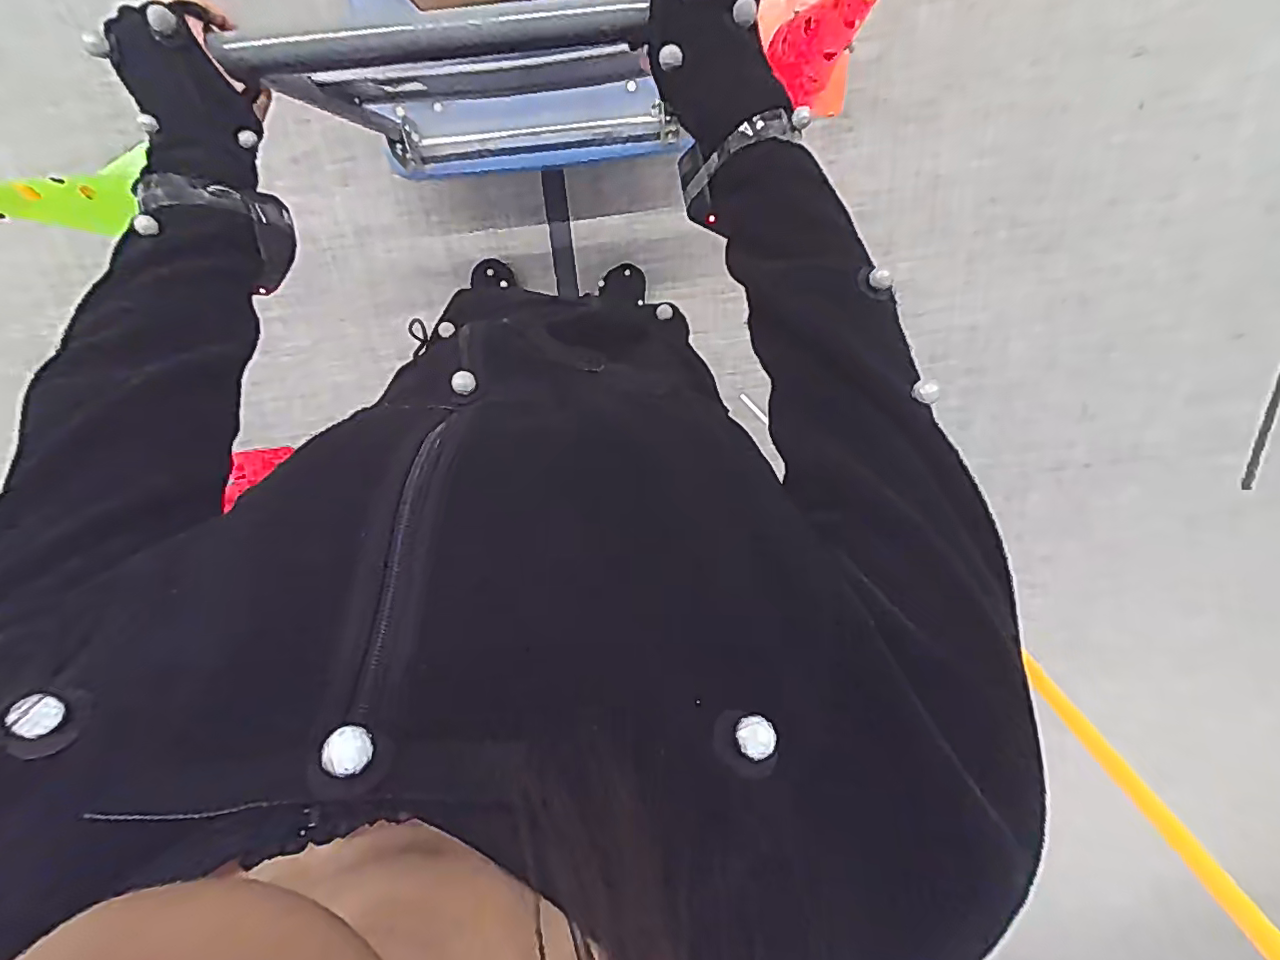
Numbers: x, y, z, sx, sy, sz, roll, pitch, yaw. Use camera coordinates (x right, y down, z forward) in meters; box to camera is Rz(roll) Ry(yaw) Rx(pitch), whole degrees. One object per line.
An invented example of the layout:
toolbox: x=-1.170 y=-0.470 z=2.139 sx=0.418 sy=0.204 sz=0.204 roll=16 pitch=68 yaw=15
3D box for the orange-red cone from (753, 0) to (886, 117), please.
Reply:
orange-red cone: x=0.344 y=-0.789 z=0.945 sx=0.199 sy=0.360 sz=0.198 roll=0 pitch=114 yaw=-3
